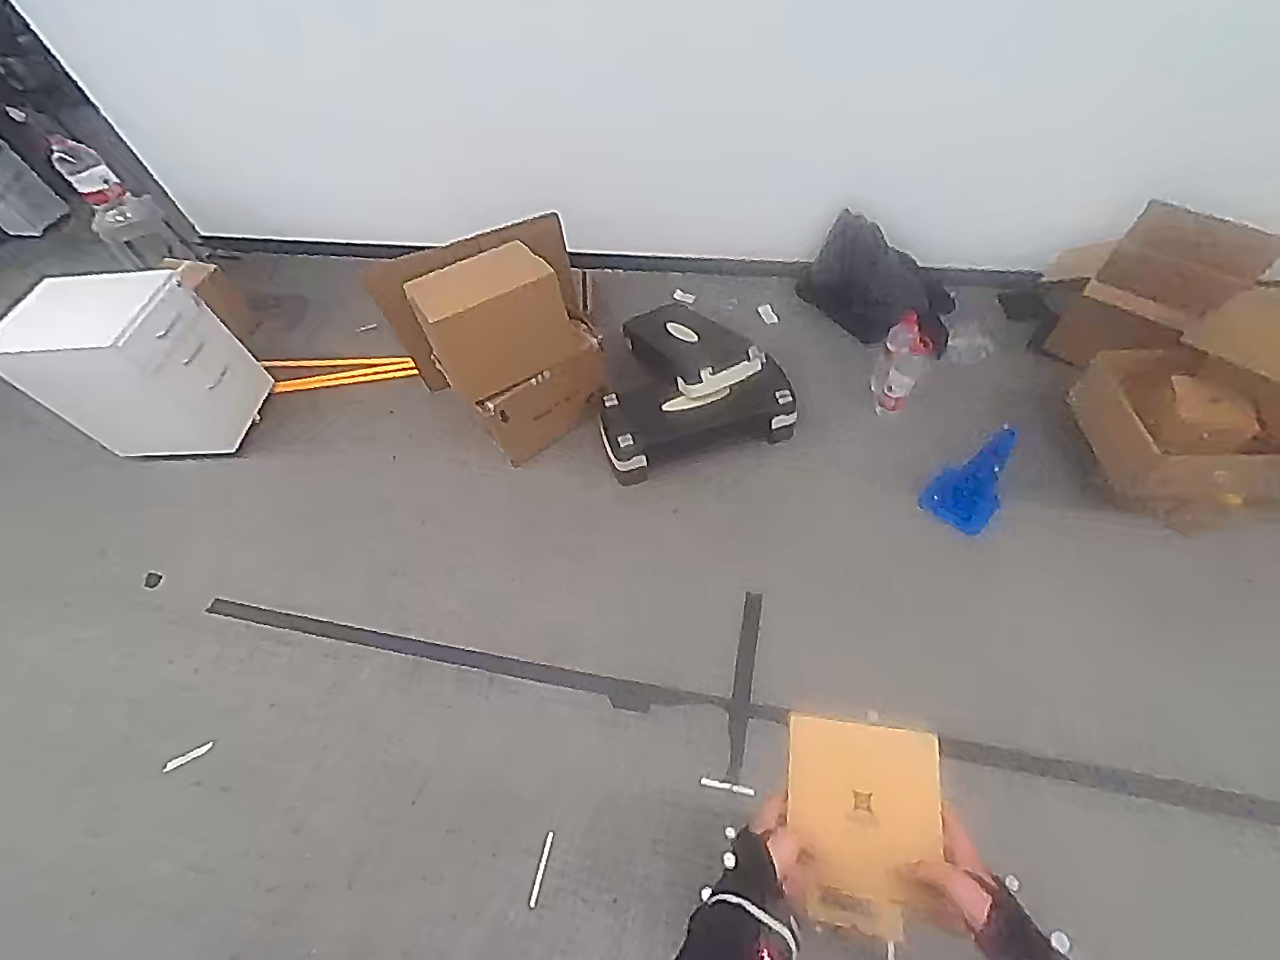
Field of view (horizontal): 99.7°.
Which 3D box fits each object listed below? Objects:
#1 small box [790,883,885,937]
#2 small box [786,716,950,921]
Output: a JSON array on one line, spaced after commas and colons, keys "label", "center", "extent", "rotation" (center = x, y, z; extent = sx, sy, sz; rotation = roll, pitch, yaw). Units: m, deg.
[{"label": "small box", "center": [0.427, 0.870, 1.193], "extent": [0.168, 0.176, 0.179], "rotation": [5, 57, 10]}, {"label": "small box", "center": [0.273, 0.403, 0.683], "extent": [0.168, 0.176, 0.179], "rotation": [1, 70, 16]}]
